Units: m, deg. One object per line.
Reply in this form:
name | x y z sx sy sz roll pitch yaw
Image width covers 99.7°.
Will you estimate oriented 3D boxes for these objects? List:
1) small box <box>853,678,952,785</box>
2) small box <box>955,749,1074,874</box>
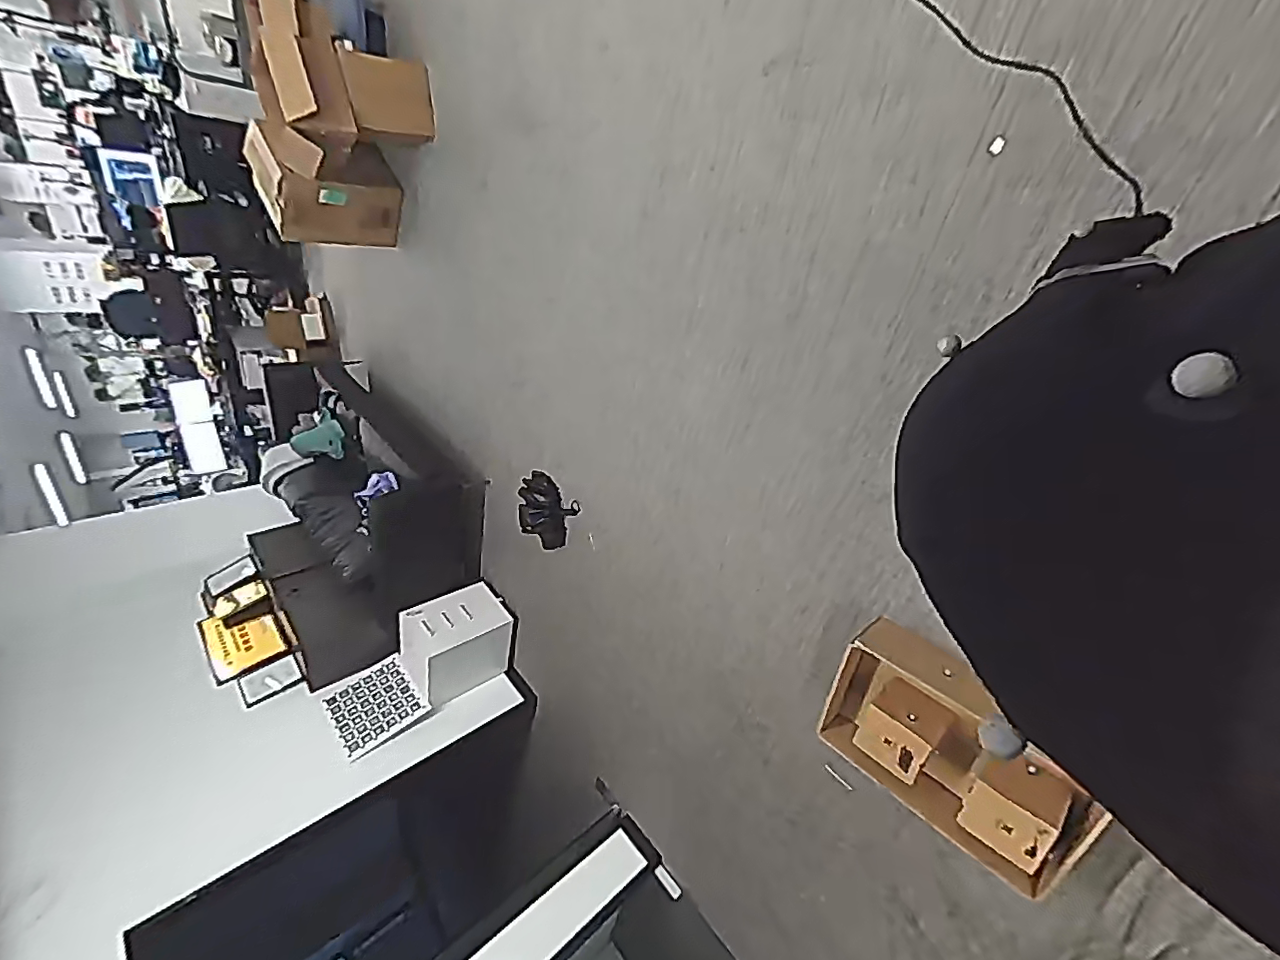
small box | 0.738 0.696 1.518 0.179 0.176 0.168 32 126 37
small box | 0.930 0.807 1.344 0.179 0.176 0.168 28 124 41
